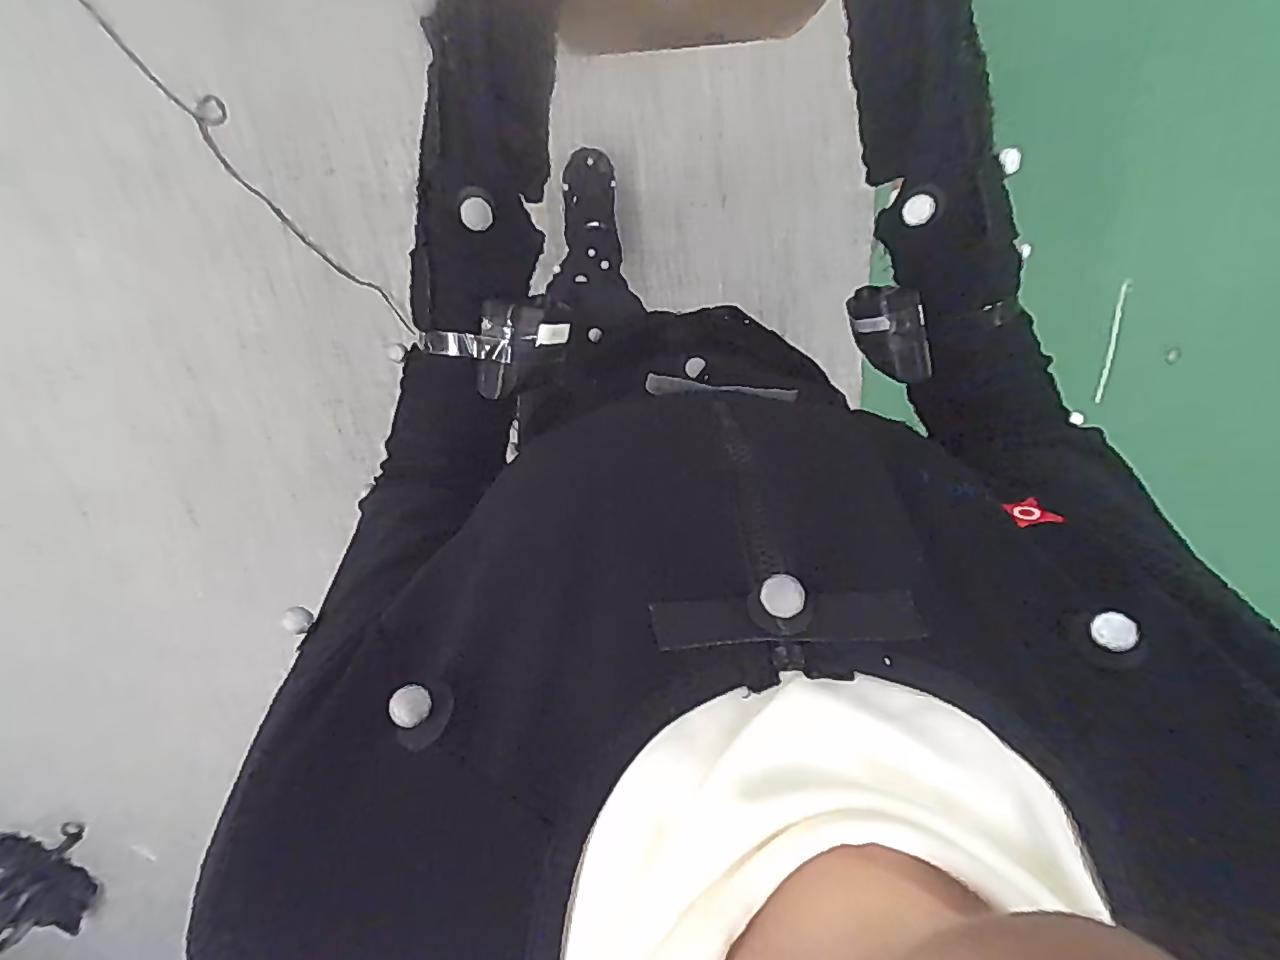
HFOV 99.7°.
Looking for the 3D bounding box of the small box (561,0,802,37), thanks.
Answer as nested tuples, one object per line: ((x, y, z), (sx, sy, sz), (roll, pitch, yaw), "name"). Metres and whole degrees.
((0.023, -0.361, 0.270), (0.168, 0.176, 0.179), (-4, 115, 1), "small box")

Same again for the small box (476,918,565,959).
((-0.250, 1.069, 1.133), (0.168, 0.176, 0.179), (-8, 111, -2), "small box")
